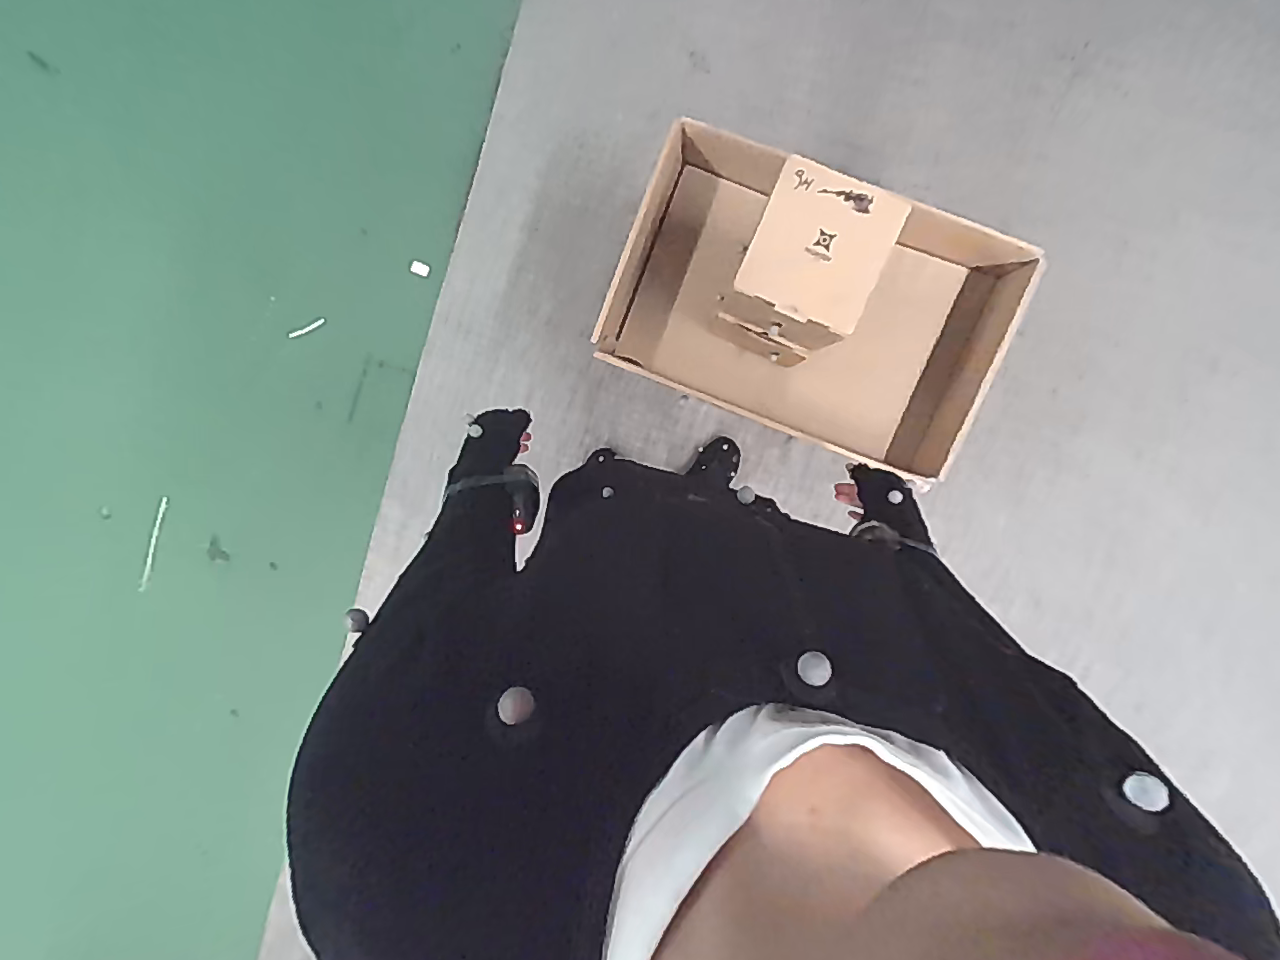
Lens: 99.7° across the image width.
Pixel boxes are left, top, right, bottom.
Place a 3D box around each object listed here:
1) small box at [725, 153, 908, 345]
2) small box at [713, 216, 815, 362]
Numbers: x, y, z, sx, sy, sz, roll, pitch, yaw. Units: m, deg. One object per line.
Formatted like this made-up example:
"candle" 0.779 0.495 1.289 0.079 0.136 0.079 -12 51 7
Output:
"small box" 0.227 -0.302 0.752 0.168 0.176 0.179 23 99 -1
"small box" 0.232 -0.314 0.916 0.168 0.176 0.179 24 96 0
